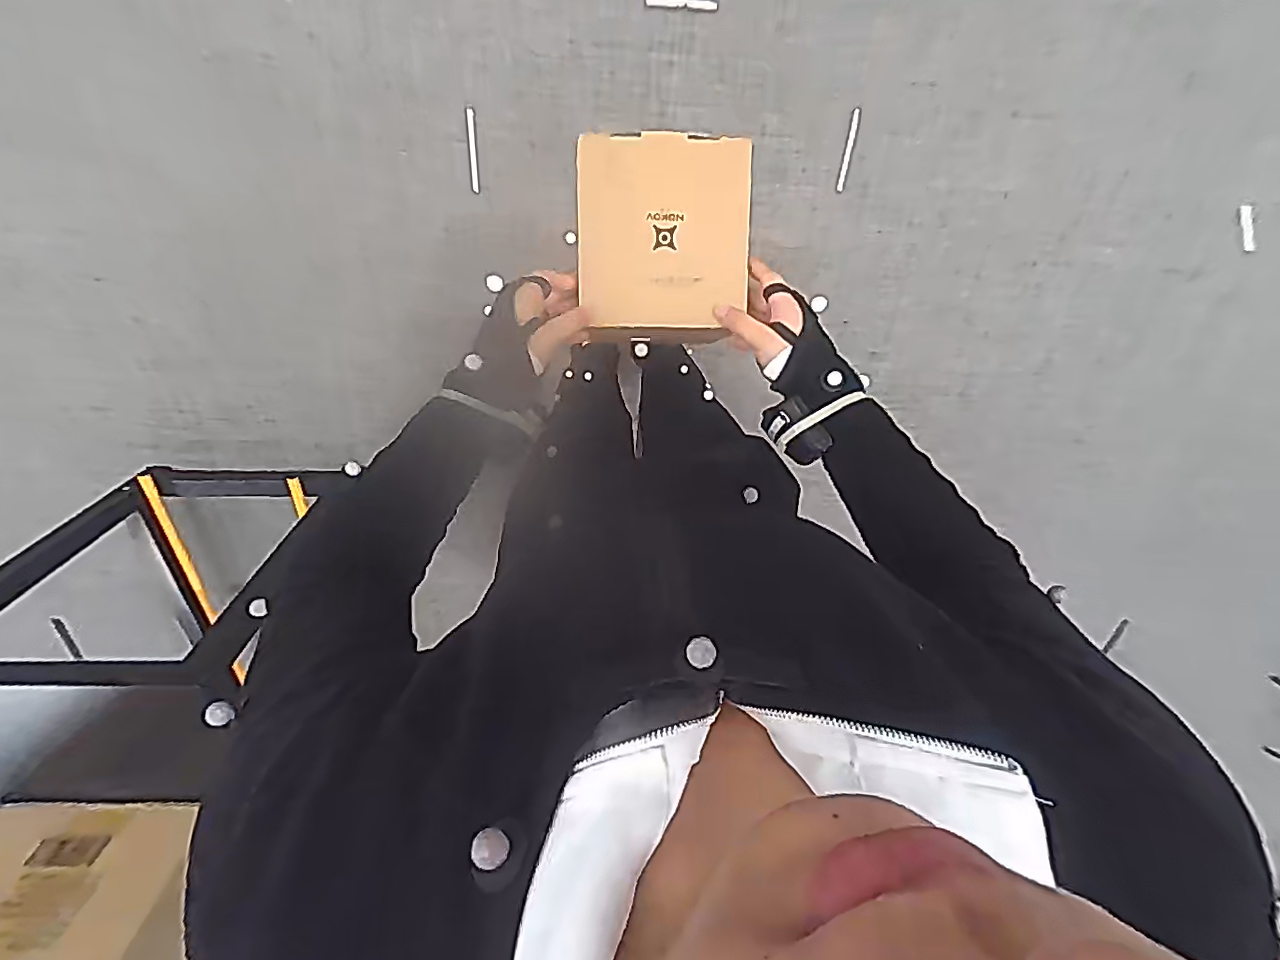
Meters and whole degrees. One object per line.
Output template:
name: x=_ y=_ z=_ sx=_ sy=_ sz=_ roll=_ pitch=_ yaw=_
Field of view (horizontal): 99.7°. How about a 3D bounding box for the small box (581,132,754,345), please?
small box: x=0.019 y=-0.246 z=0.591 sx=0.168 sy=0.176 sz=0.179 roll=-1 pitch=100 yaw=-4
